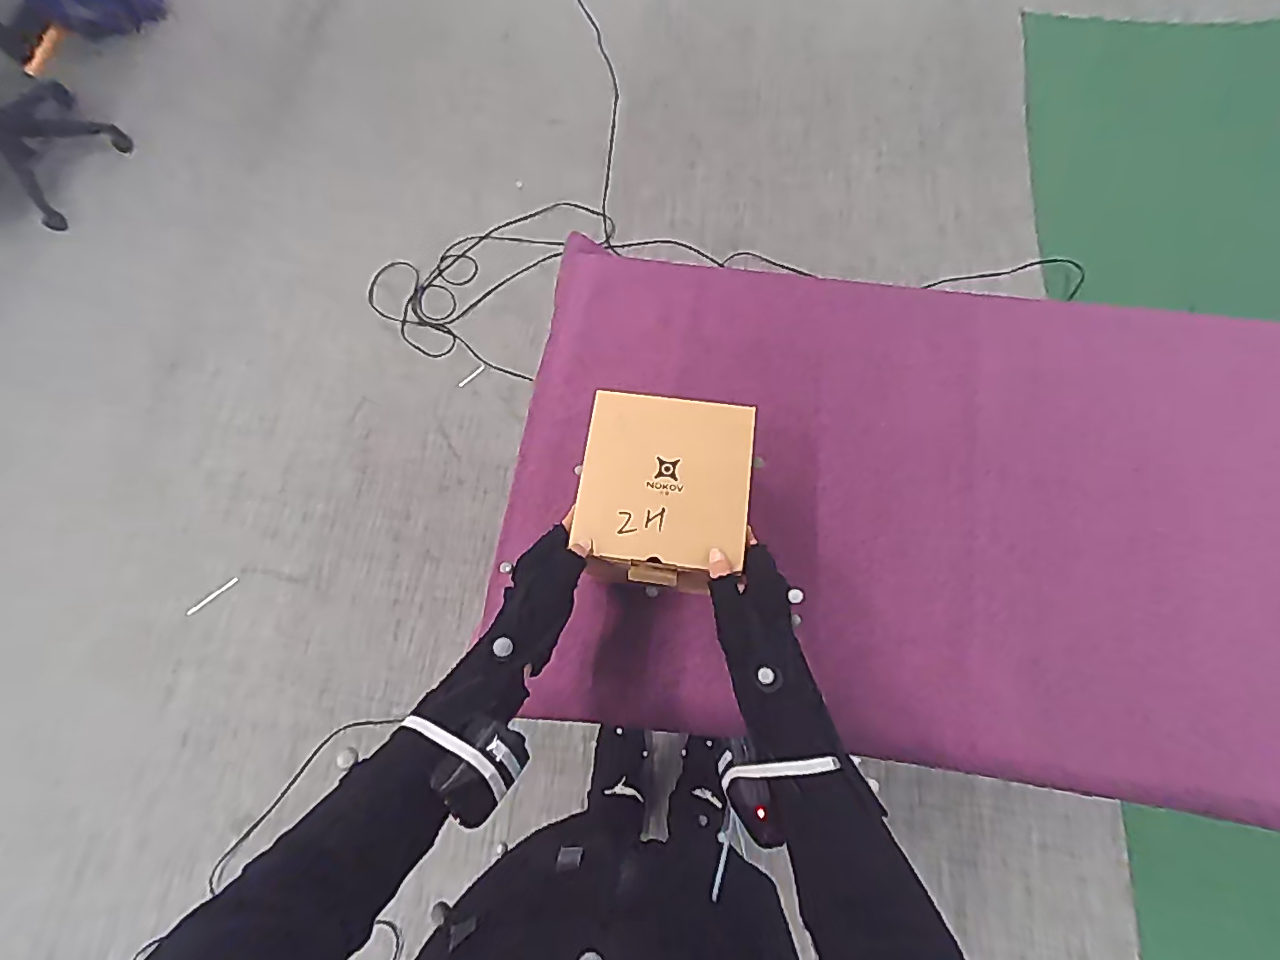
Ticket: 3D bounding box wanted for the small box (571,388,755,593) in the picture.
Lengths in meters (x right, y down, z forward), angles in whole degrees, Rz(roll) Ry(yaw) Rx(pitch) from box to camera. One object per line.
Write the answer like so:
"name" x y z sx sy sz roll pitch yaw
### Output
"small box" 0.028 0.020 0.610 0.168 0.176 0.179 7 72 5
